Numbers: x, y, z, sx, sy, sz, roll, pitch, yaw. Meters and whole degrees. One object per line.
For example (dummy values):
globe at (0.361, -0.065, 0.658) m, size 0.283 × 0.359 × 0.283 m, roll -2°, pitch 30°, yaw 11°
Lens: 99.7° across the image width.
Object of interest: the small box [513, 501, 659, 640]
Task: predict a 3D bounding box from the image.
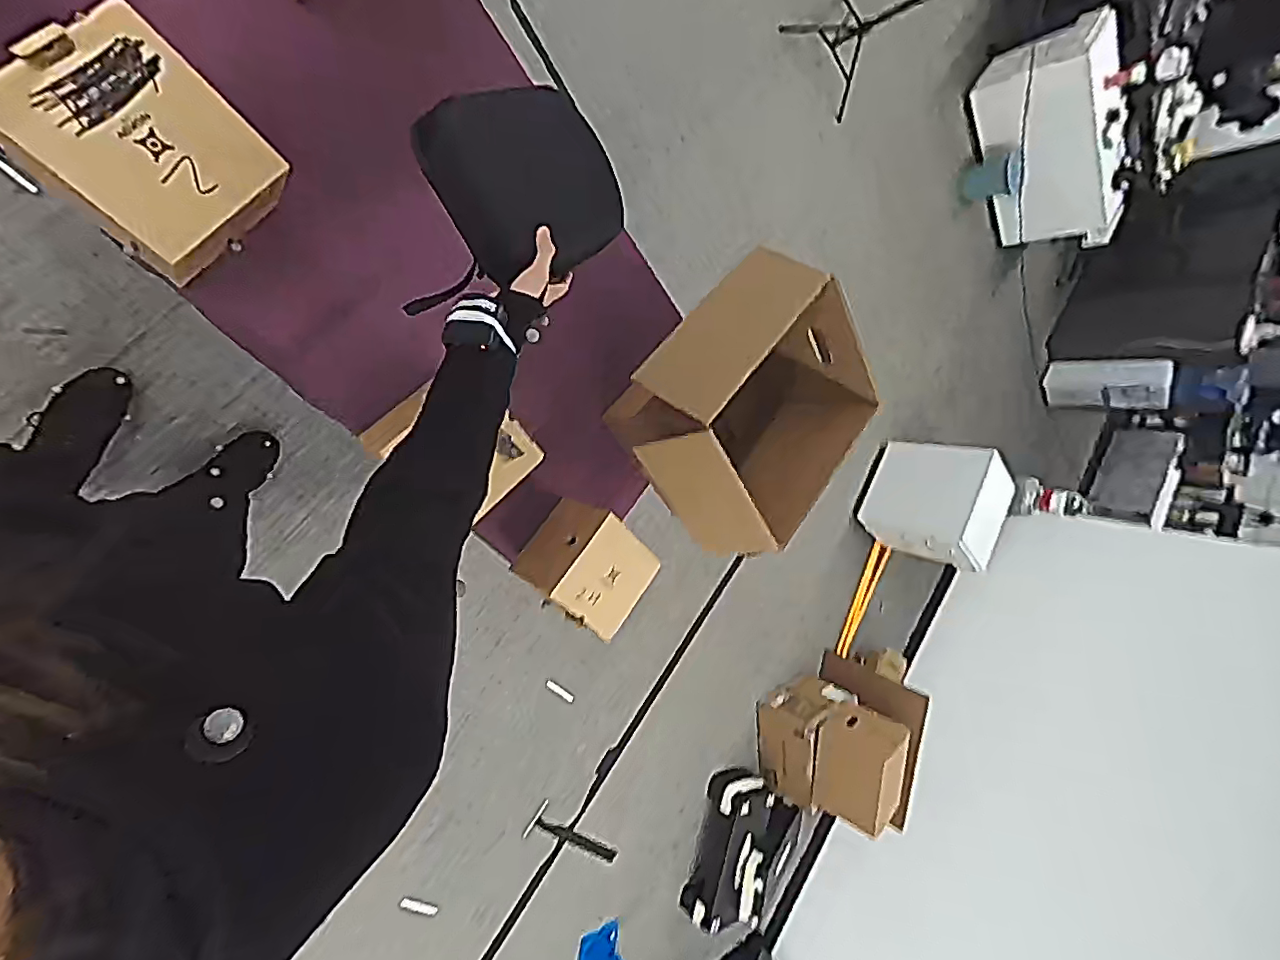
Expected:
small box at (-0.105, 0.159, 1.010) m, size 0.179 × 0.176 × 0.168 m, roll -53°, pitch 124°, yaw -18°

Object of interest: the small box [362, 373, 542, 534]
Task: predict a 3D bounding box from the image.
small box at (-0.291, -0.050, 0.828) m, size 0.179 × 0.176 × 0.168 m, roll -46°, pitch 122°, yaw -21°
